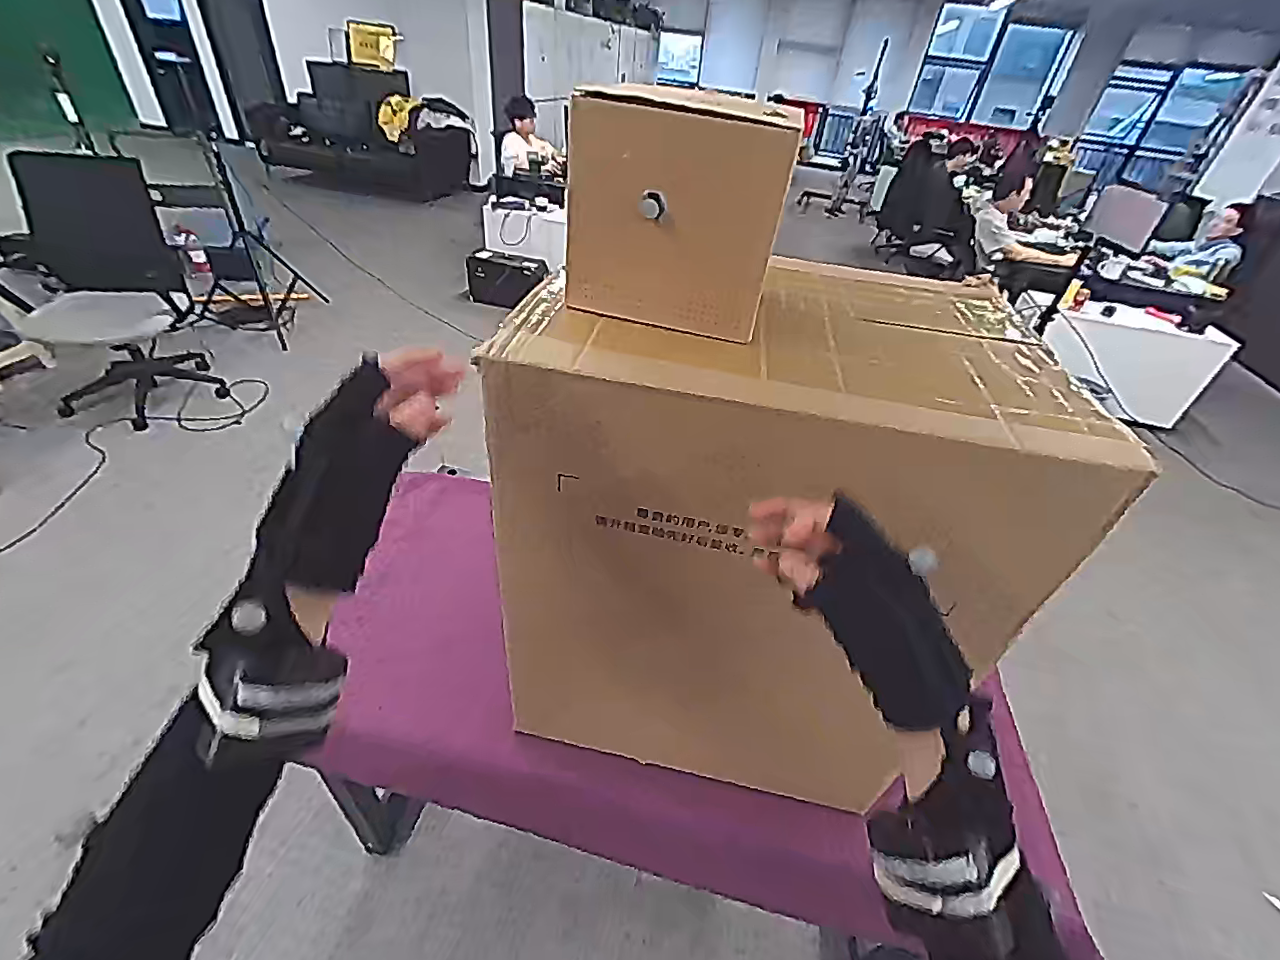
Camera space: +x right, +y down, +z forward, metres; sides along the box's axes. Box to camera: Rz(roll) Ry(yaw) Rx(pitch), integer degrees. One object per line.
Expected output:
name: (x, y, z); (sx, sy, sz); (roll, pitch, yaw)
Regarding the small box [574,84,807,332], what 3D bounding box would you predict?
small box: (0.045, -0.252, 0.500); (0.179, 0.176, 0.168); (13, 39, 7)
